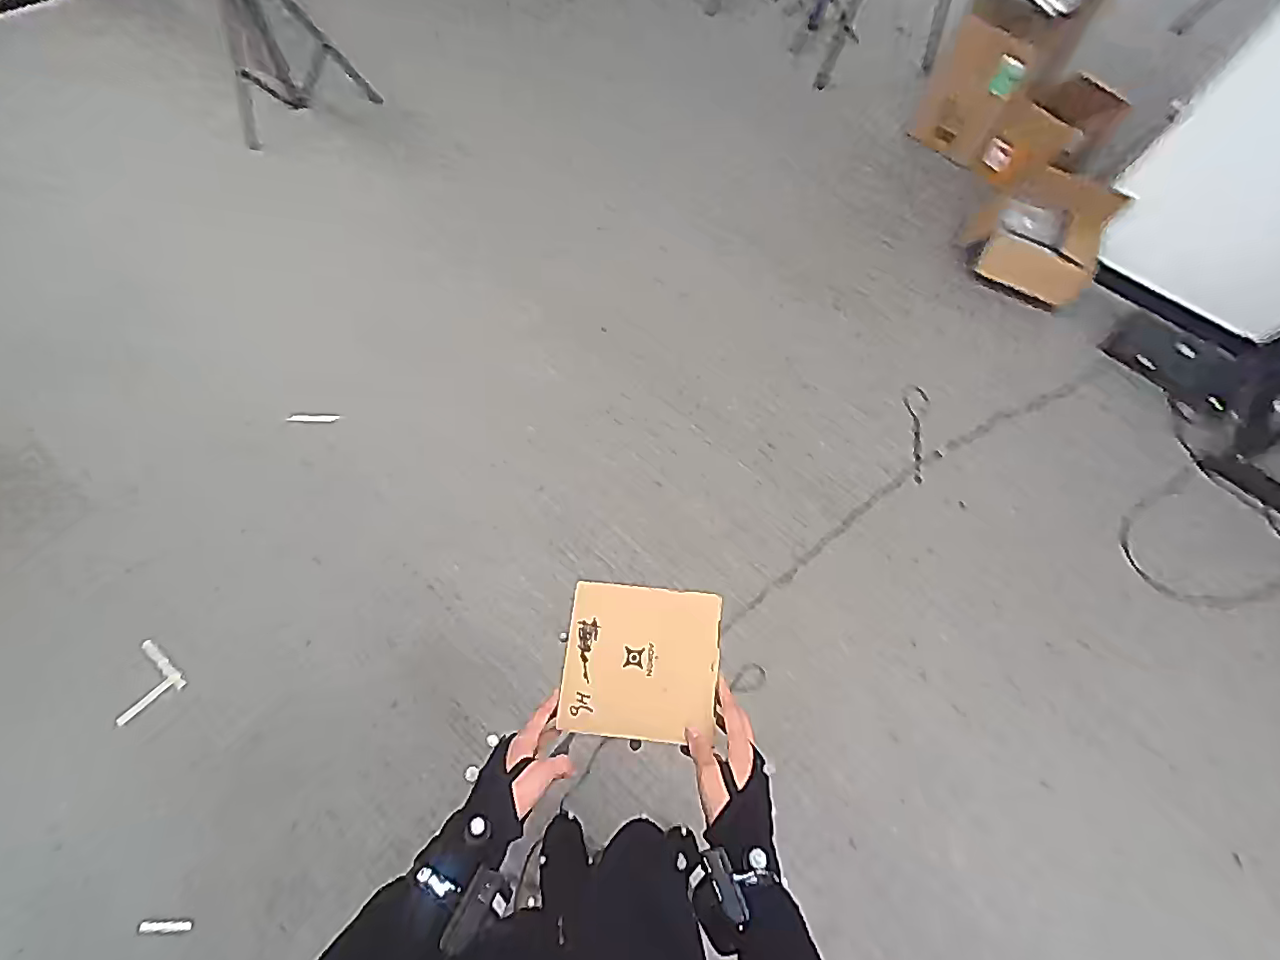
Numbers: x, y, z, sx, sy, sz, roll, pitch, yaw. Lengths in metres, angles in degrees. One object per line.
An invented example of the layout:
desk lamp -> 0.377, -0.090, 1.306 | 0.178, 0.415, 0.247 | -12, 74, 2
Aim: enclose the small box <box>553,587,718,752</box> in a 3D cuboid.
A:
small box -> -0.002, 0.242, 0.695 | 0.179, 0.176, 0.168 | 5, 68, 3
